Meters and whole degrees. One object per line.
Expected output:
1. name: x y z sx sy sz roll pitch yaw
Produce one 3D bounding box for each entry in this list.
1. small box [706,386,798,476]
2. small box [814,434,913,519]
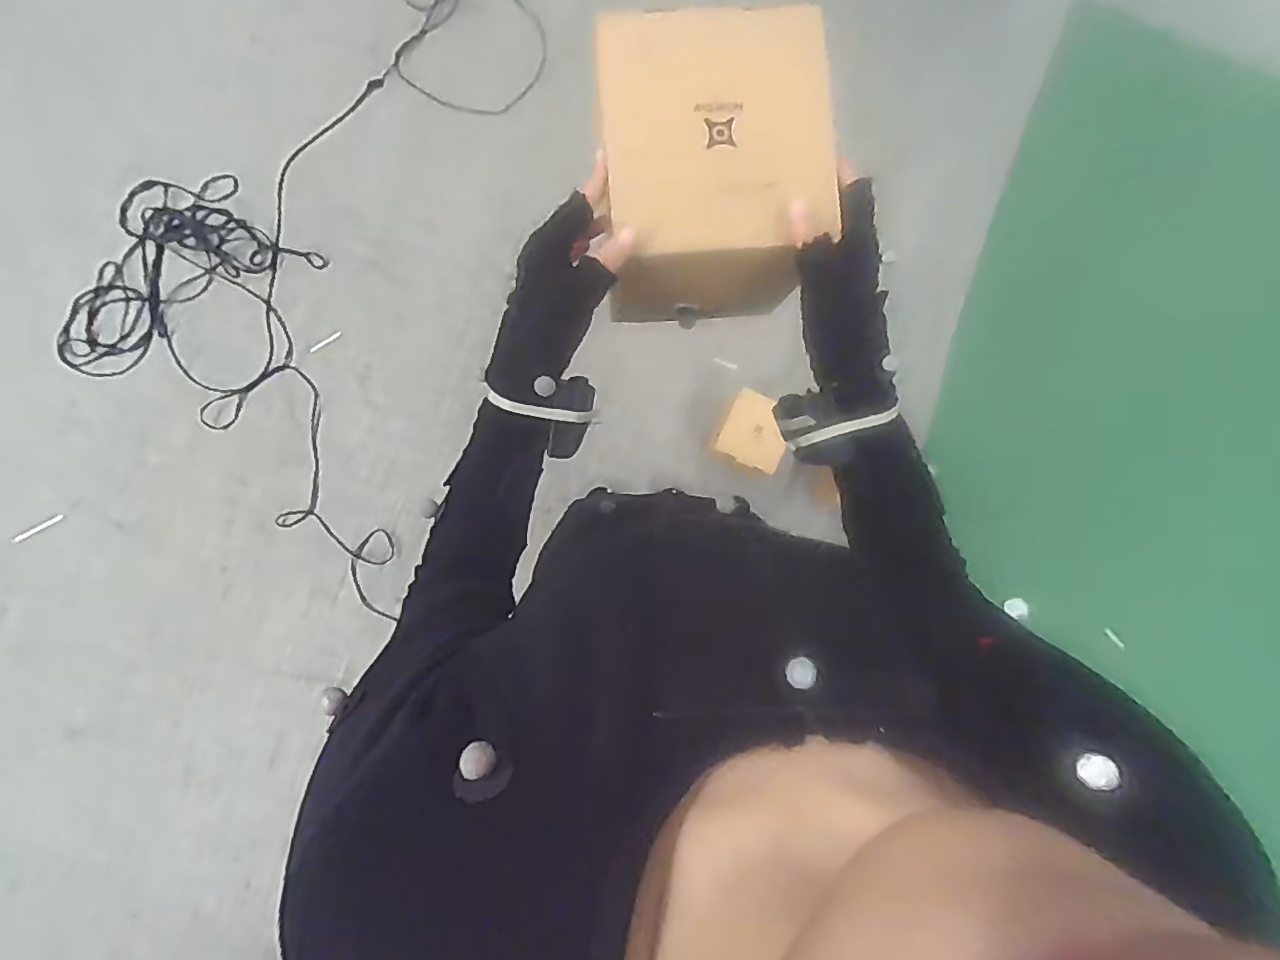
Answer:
1. small box: 0.286 -0.122 1.427 0.168 0.176 0.179 24 88 -2
2. small box: 0.583 -0.005 1.439 0.168 0.176 0.179 19 87 -2
